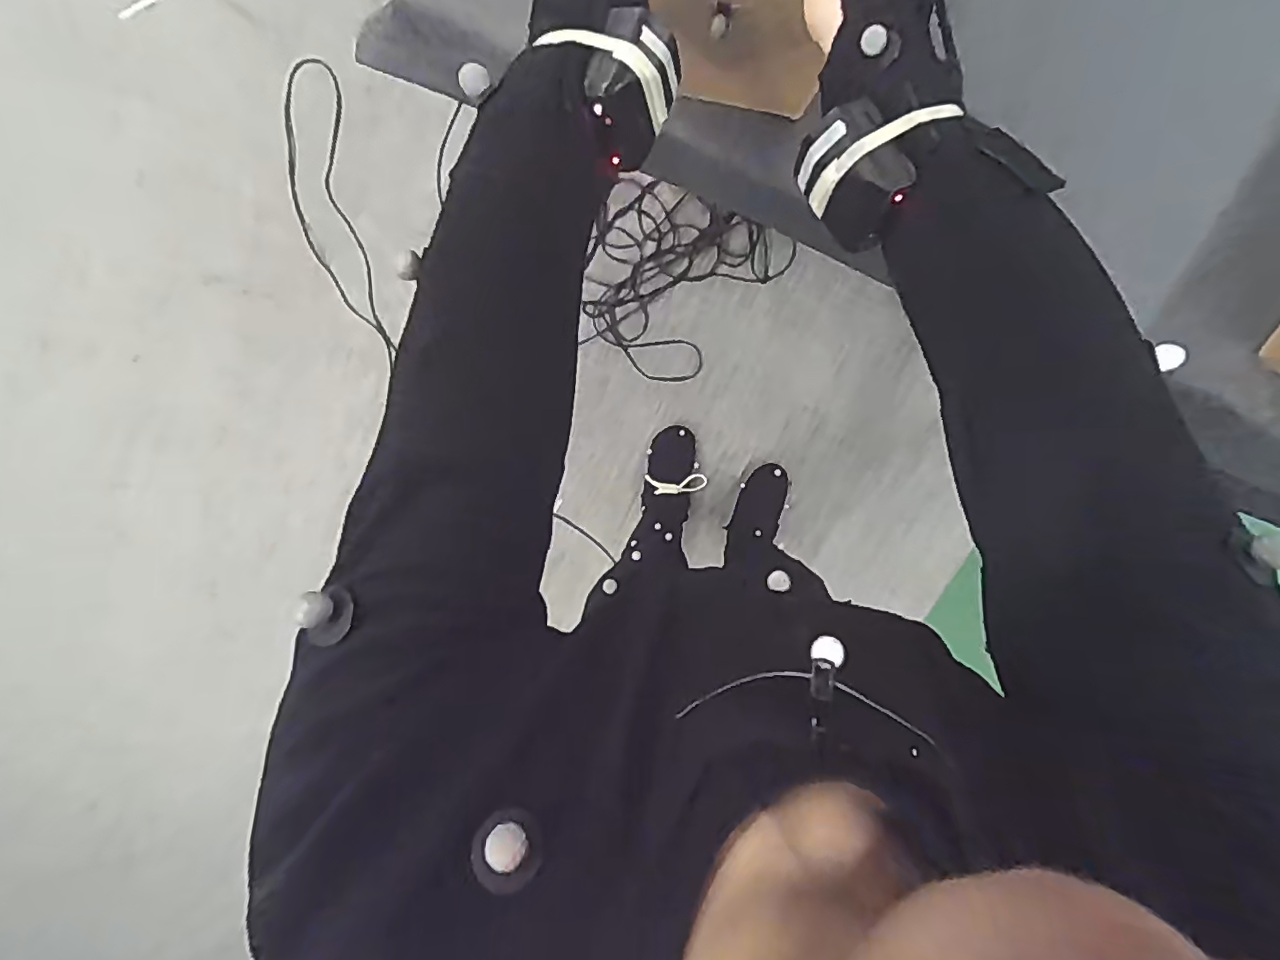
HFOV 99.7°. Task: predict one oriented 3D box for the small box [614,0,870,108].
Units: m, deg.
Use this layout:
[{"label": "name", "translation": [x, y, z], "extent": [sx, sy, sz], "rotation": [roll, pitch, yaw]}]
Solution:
[{"label": "small box", "translation": [0.082, -0.417, 0.408], "extent": [0.179, 0.176, 0.168], "rotation": [12, 102, -1]}]
